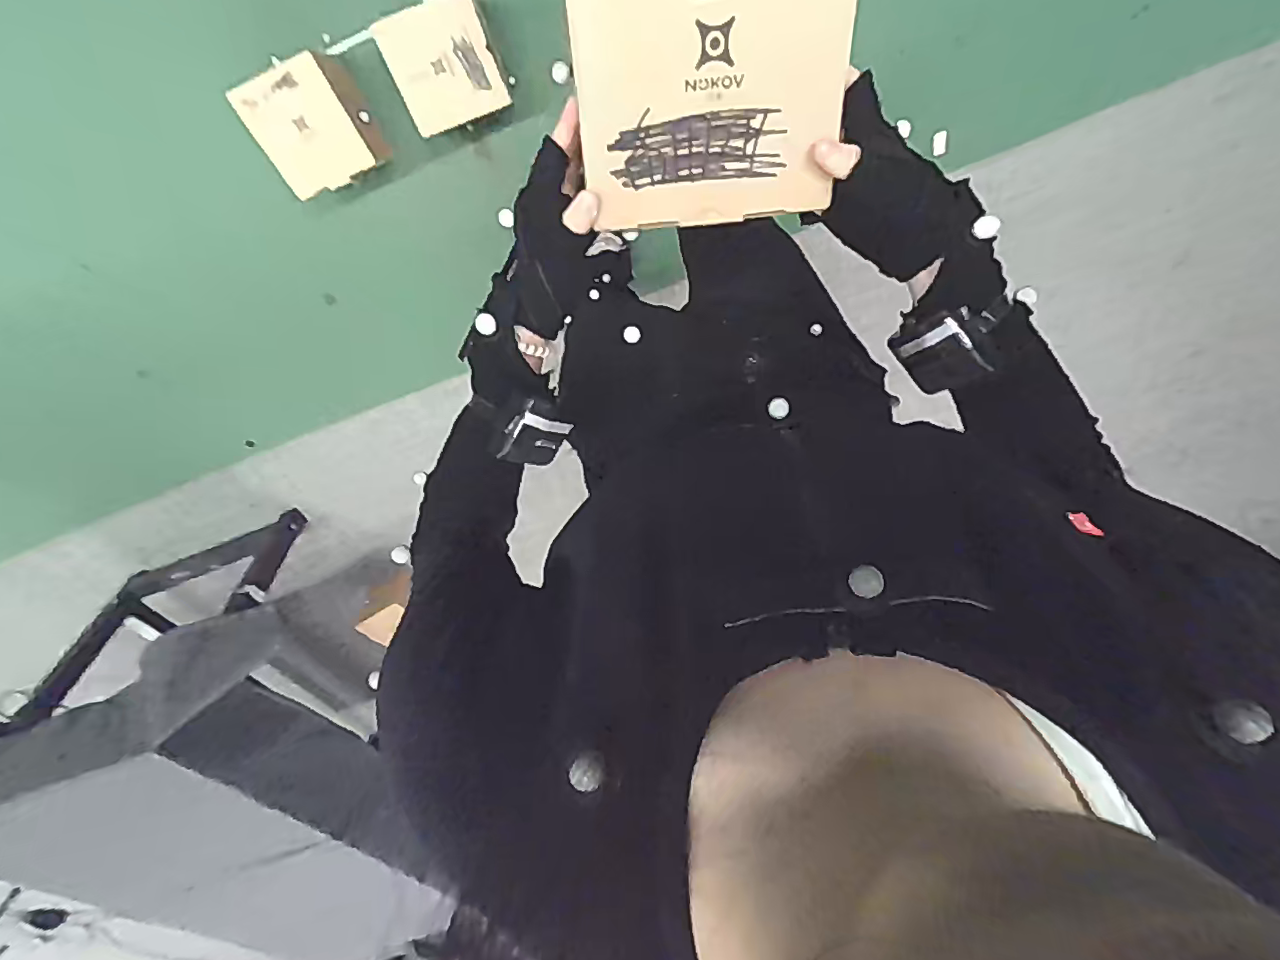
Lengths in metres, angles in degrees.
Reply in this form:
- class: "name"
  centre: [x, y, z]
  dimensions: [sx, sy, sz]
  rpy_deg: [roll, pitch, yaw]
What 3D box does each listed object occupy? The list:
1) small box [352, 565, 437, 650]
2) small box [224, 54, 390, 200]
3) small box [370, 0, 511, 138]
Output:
- class: "small box"
  centre: [-0.783, 0.409, 1.745]
  dimensions: [0.179, 0.176, 0.168]
  rpy_deg: [-30, 126, 13]
- class: "small box"
  centre: [-0.594, -0.652, 0.995]
  dimensions: [0.168, 0.176, 0.179]
  rpy_deg: [-22, 128, 6]
- class: "small box"
  centre: [-0.344, -0.743, 0.972]
  dimensions: [0.179, 0.176, 0.168]
  rpy_deg: [-19, 127, 4]
